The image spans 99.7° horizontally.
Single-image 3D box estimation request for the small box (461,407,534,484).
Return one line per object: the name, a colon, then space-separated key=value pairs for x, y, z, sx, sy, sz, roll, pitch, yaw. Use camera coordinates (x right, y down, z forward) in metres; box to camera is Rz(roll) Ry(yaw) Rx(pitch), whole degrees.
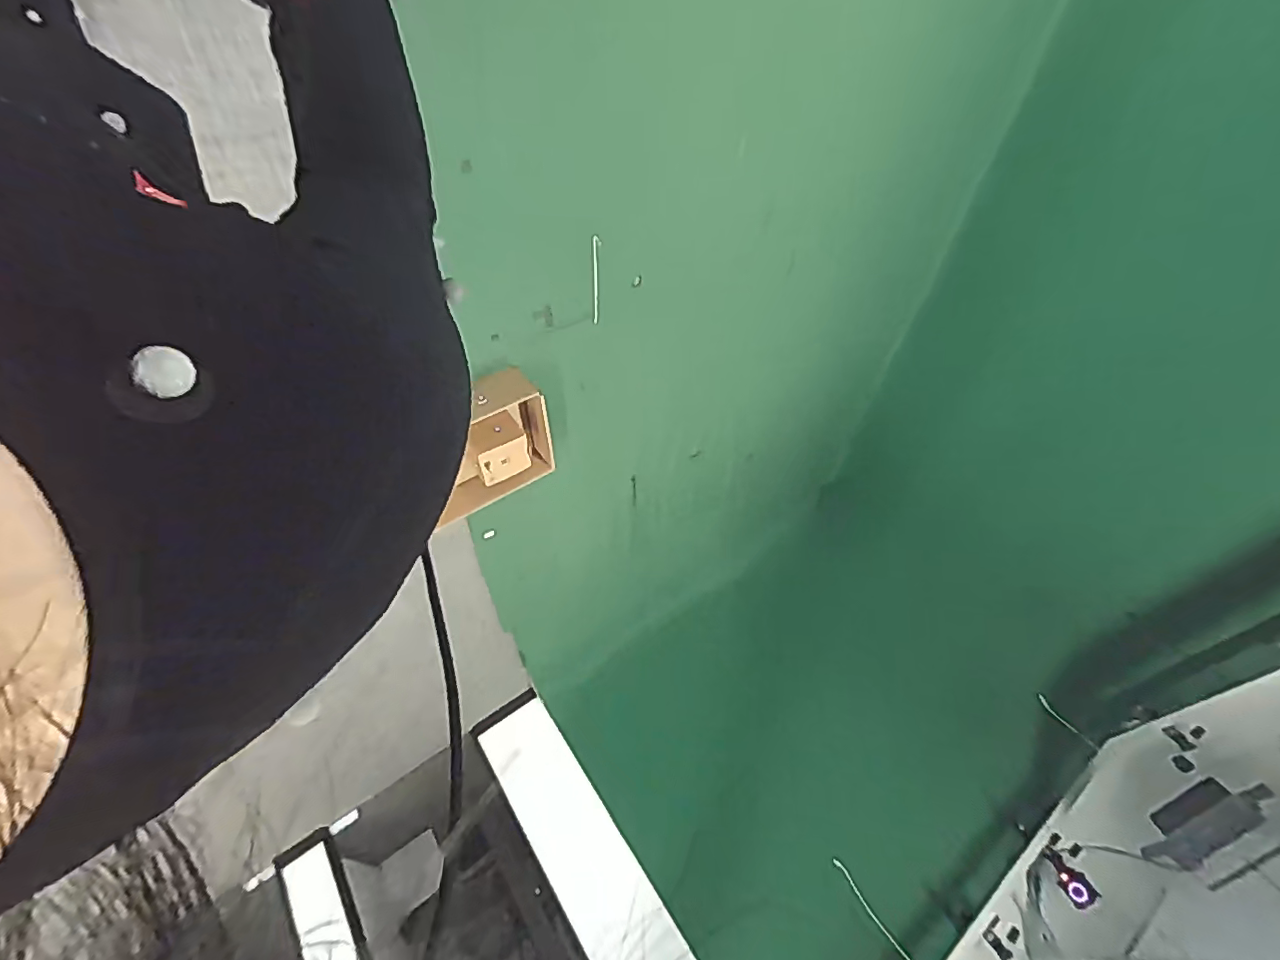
small box: x=-0.488 y=-0.123 z=1.855 sx=0.179 sy=0.176 sz=0.168 roll=-28 pitch=148 yaw=-23
